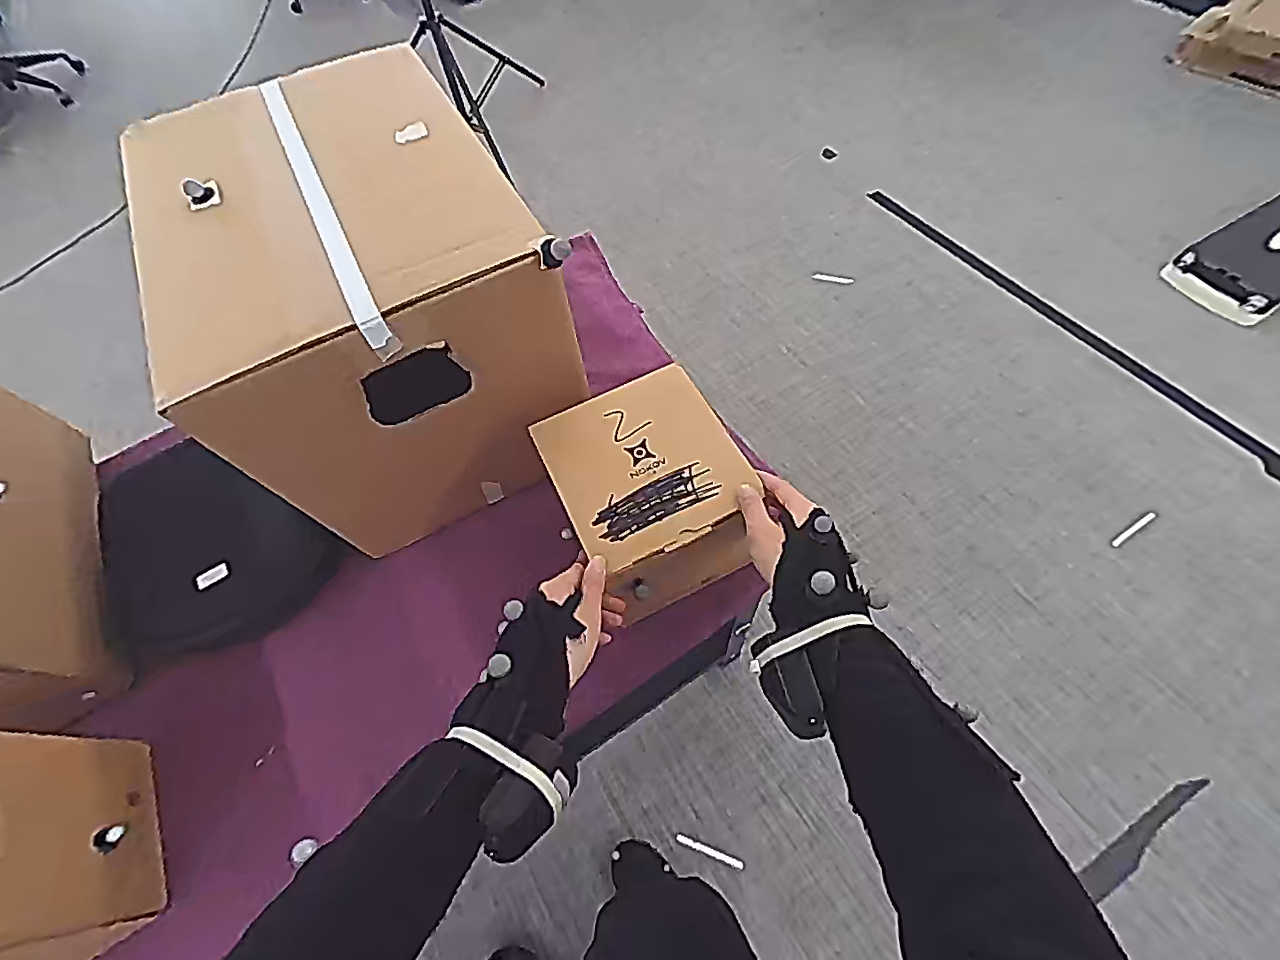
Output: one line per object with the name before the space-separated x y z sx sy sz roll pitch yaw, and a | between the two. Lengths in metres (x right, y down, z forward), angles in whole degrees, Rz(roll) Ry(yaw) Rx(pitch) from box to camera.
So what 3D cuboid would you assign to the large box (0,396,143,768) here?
large box | -0.797 0.095 0.521 0.320 0.320 0.408 -33 66 -12
